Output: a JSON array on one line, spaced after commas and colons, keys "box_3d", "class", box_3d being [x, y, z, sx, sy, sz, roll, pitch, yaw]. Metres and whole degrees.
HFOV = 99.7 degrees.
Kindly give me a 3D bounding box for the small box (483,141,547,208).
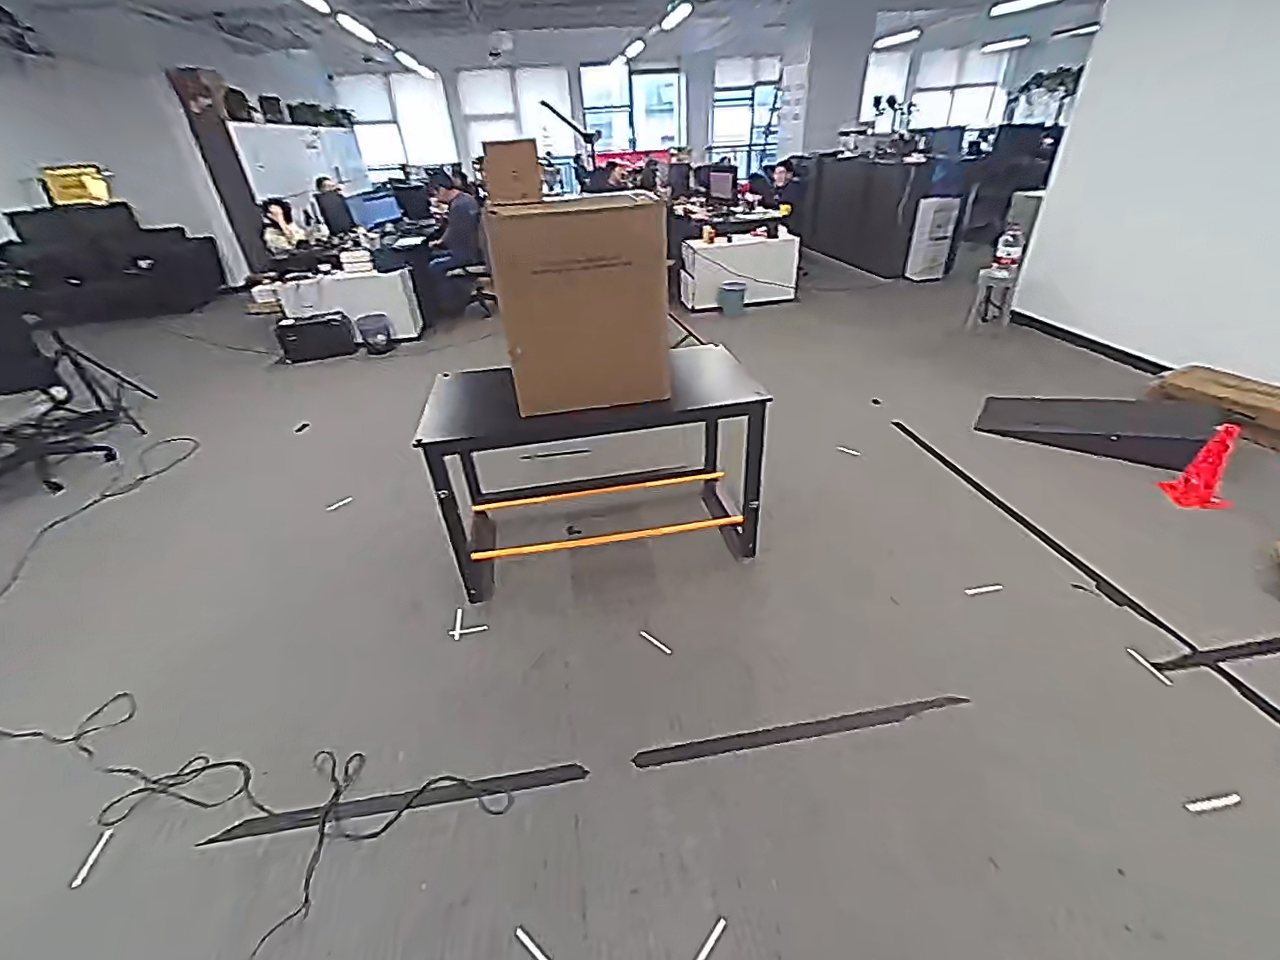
[{"box_3d": [-0.384, -0.947, 1.681, 0.168, 0.176, 0.179, -7, 32, -7], "class": "small box"}]
